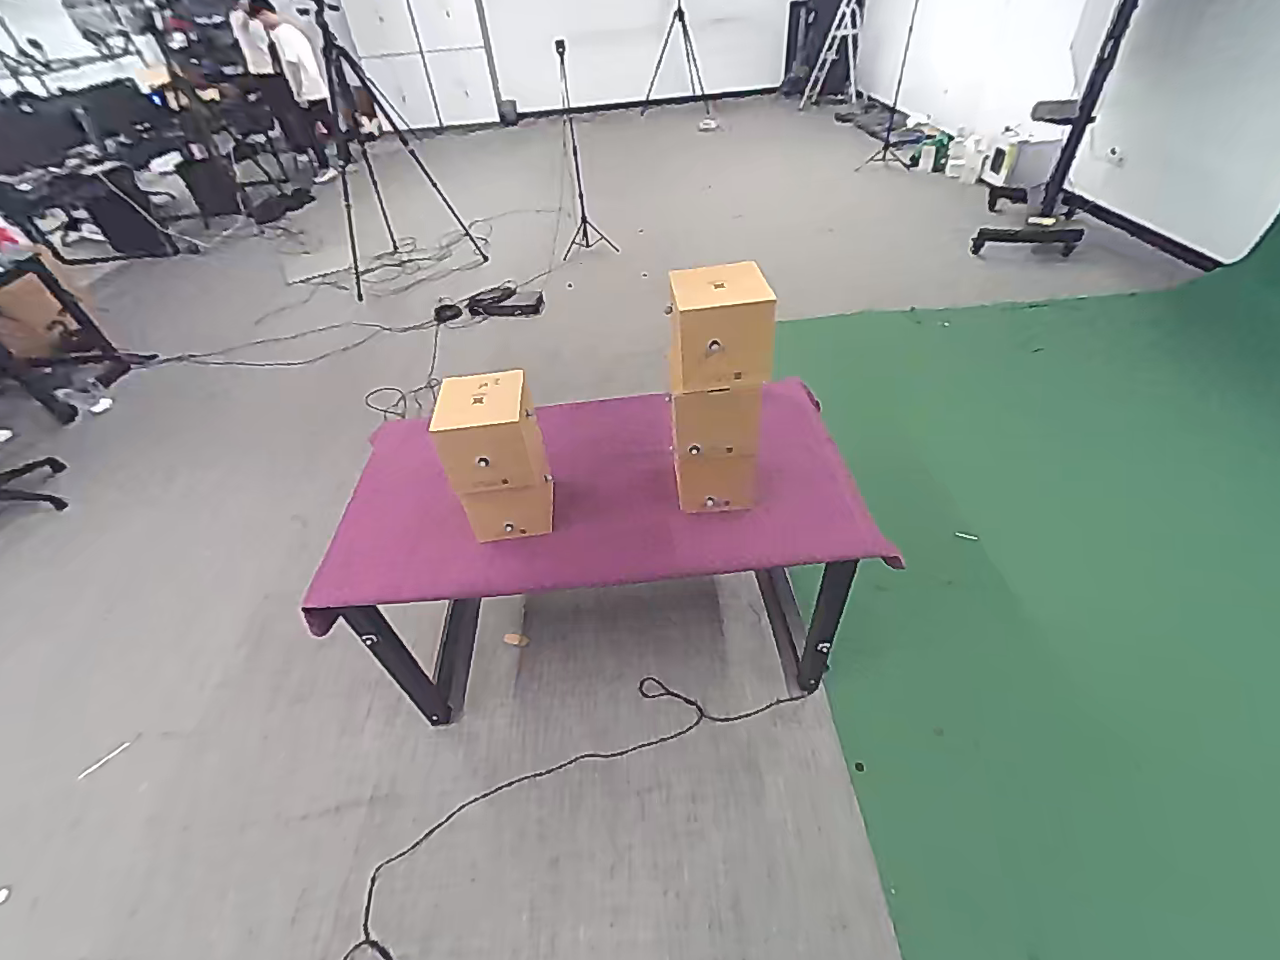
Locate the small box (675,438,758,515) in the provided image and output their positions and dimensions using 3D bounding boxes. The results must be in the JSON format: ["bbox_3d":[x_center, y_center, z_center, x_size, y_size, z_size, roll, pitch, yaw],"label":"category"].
[{"bbox_3d":[0.166,-0.043,1.223,0.168,0.176,0.179,-5,43,3],"label":"small box"}]

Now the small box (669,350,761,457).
[{"bbox_3d":[0.151,-0.160,1.110,0.168,0.176,0.179,-6,41,3],"label":"small box"}]

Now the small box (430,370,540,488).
[{"bbox_3d":[-0.300,-0.097,1.090,0.168,0.176,0.179,-6,44,-1],"label":"small box"}]

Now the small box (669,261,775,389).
[{"bbox_3d":[0.148,-0.281,1.001,0.168,0.176,0.179,-7,41,1],"label":"small box"}]
